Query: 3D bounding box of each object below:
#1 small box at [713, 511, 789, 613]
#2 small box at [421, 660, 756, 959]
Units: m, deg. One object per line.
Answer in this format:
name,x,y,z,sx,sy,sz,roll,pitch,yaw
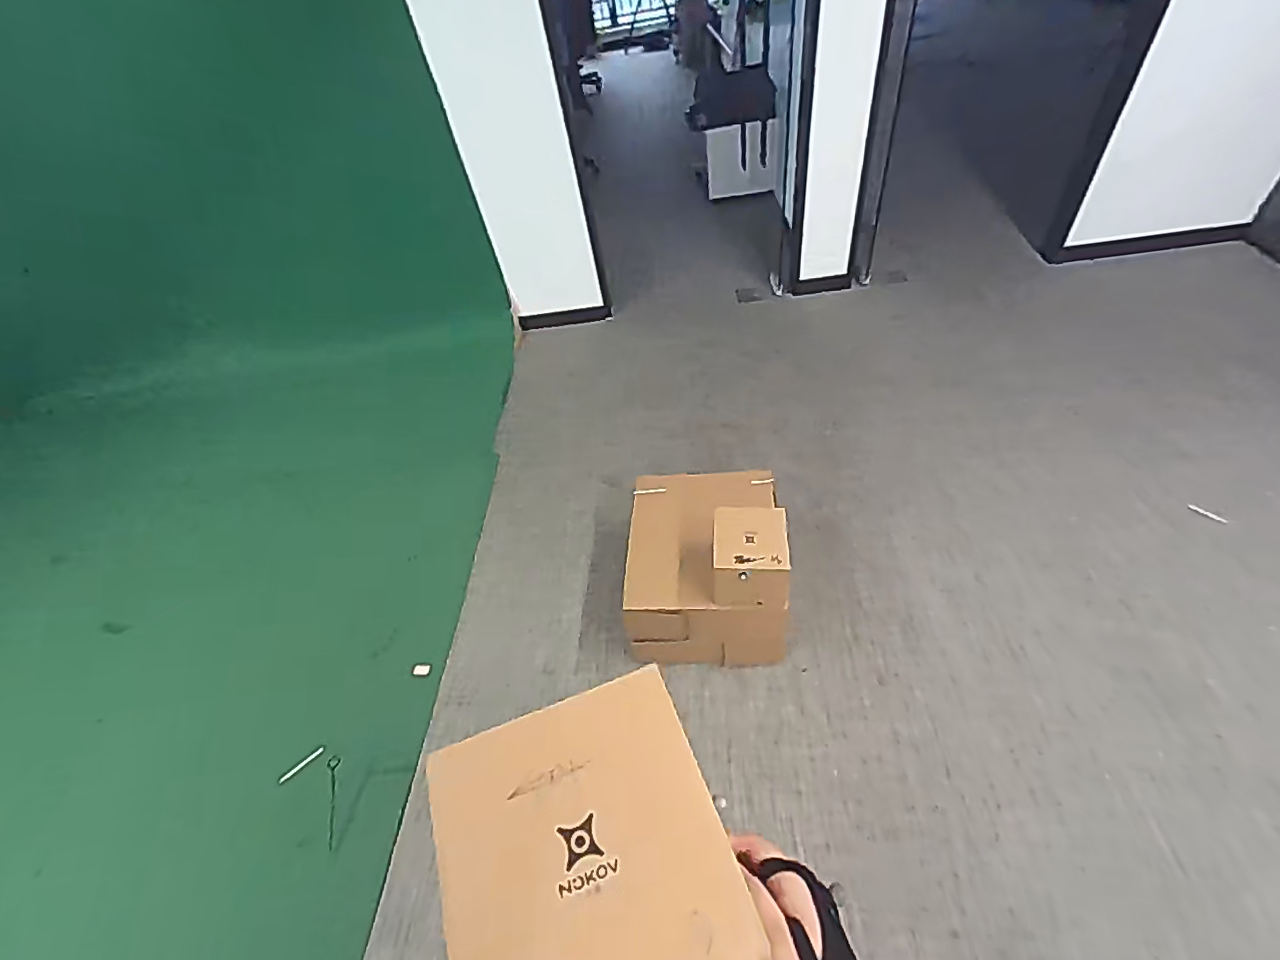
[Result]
small box,0.259,0.193,1.279,0.168,0.176,0.179,-1,46,10
small box,-0.037,0.264,0.384,0.168,0.176,0.179,-17,52,-11
